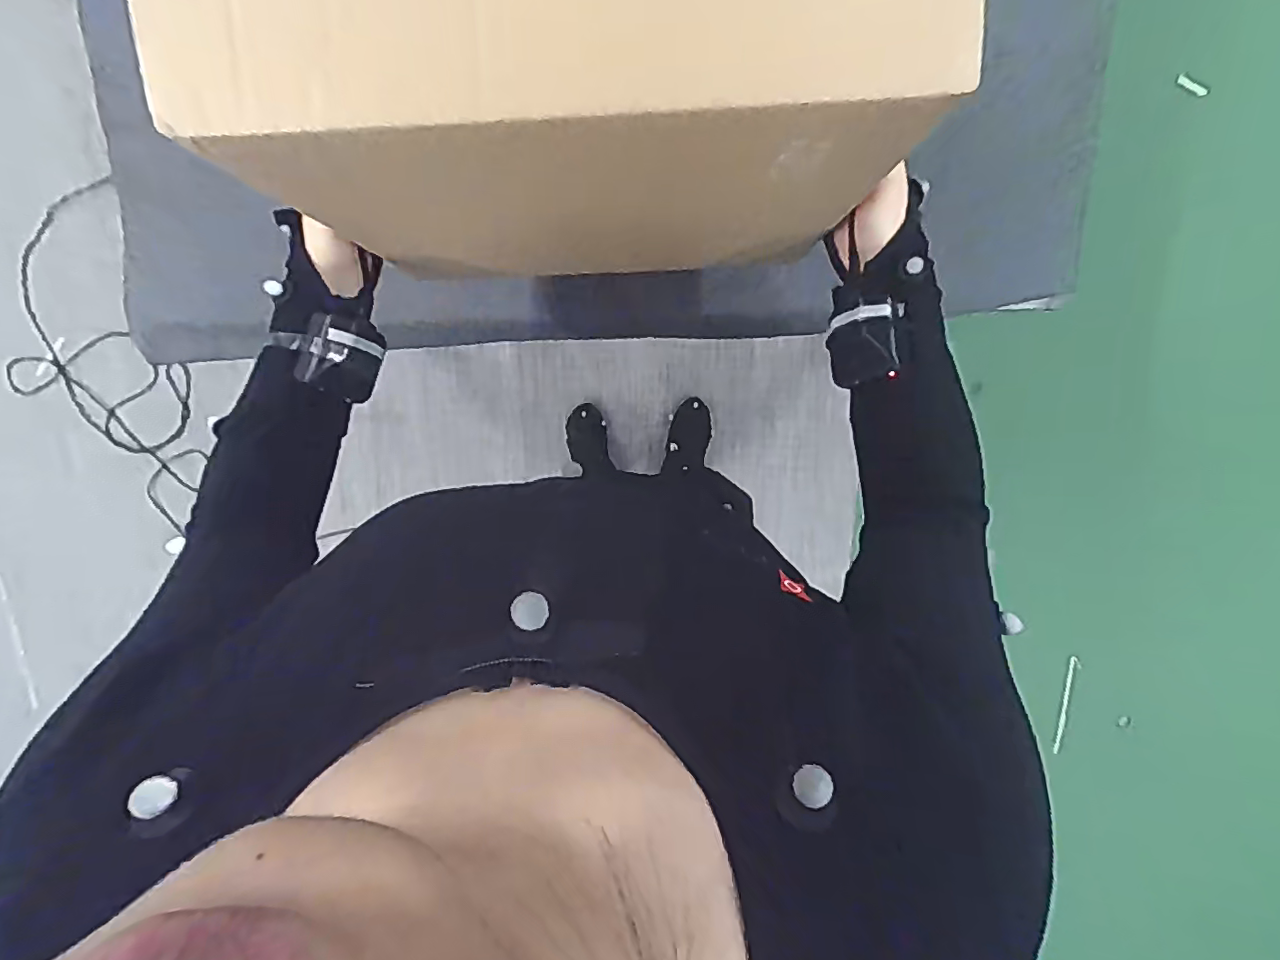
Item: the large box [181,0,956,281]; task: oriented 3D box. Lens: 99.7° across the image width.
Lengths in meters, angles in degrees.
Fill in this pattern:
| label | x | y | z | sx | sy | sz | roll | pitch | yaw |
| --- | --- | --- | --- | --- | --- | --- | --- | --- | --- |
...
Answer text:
| label | x | y | z | sx | sy | sz | roll | pitch | yaw |
| --- | --- | --- | --- | --- | --- | --- | --- | --- | --- |
| large box | -0.044 | -0.358 | 0.414 | 0.408 | 0.320 | 0.320 | -3 | 98 | 0 |
